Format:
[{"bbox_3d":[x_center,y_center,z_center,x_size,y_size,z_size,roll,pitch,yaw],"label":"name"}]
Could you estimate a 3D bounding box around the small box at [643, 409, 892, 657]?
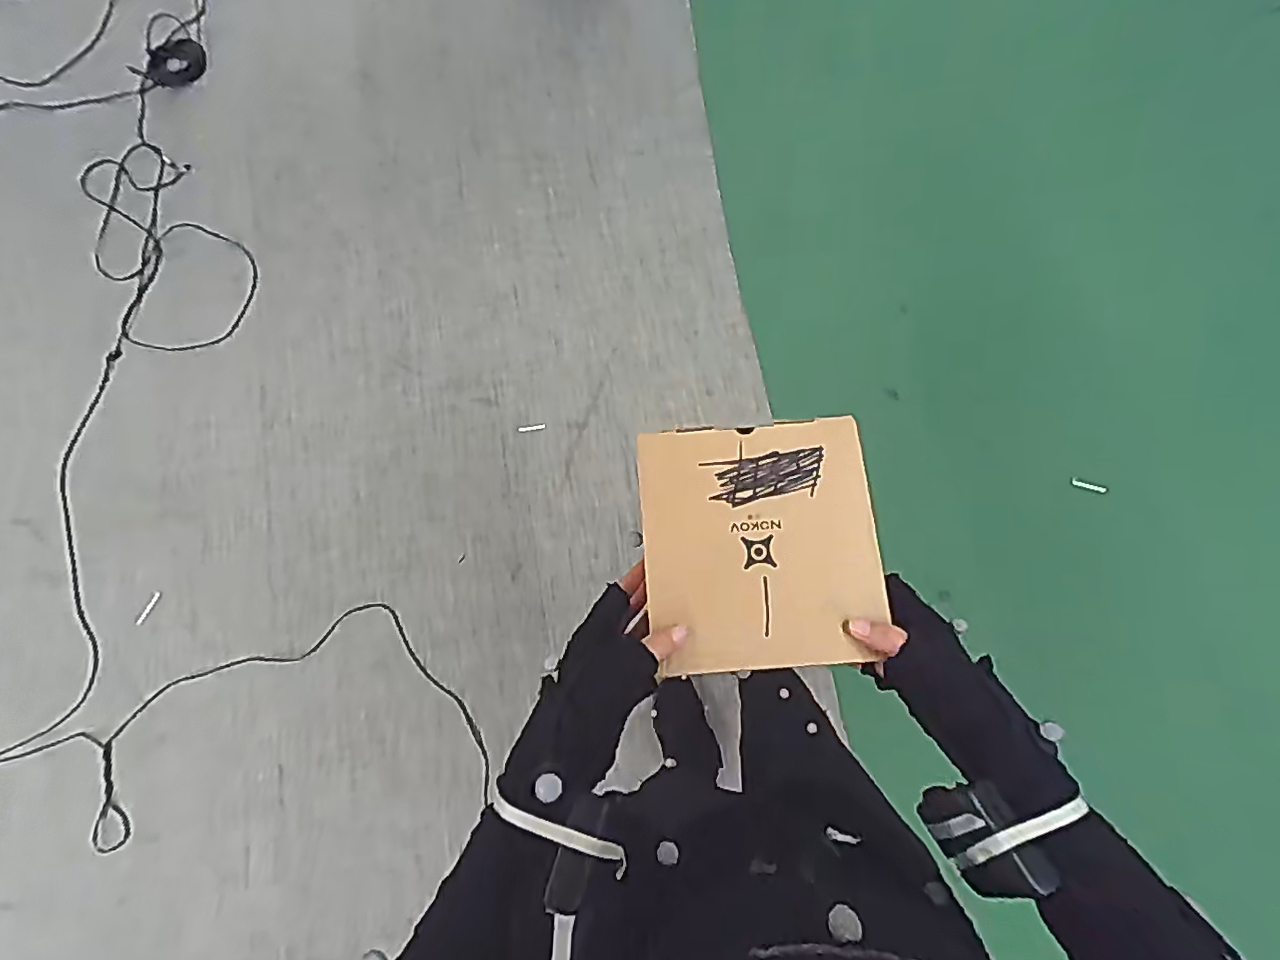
[{"bbox_3d":[0.087,0.054,0.465,0.168,0.176,0.179,-4,76,1],"label":"small box"}]
